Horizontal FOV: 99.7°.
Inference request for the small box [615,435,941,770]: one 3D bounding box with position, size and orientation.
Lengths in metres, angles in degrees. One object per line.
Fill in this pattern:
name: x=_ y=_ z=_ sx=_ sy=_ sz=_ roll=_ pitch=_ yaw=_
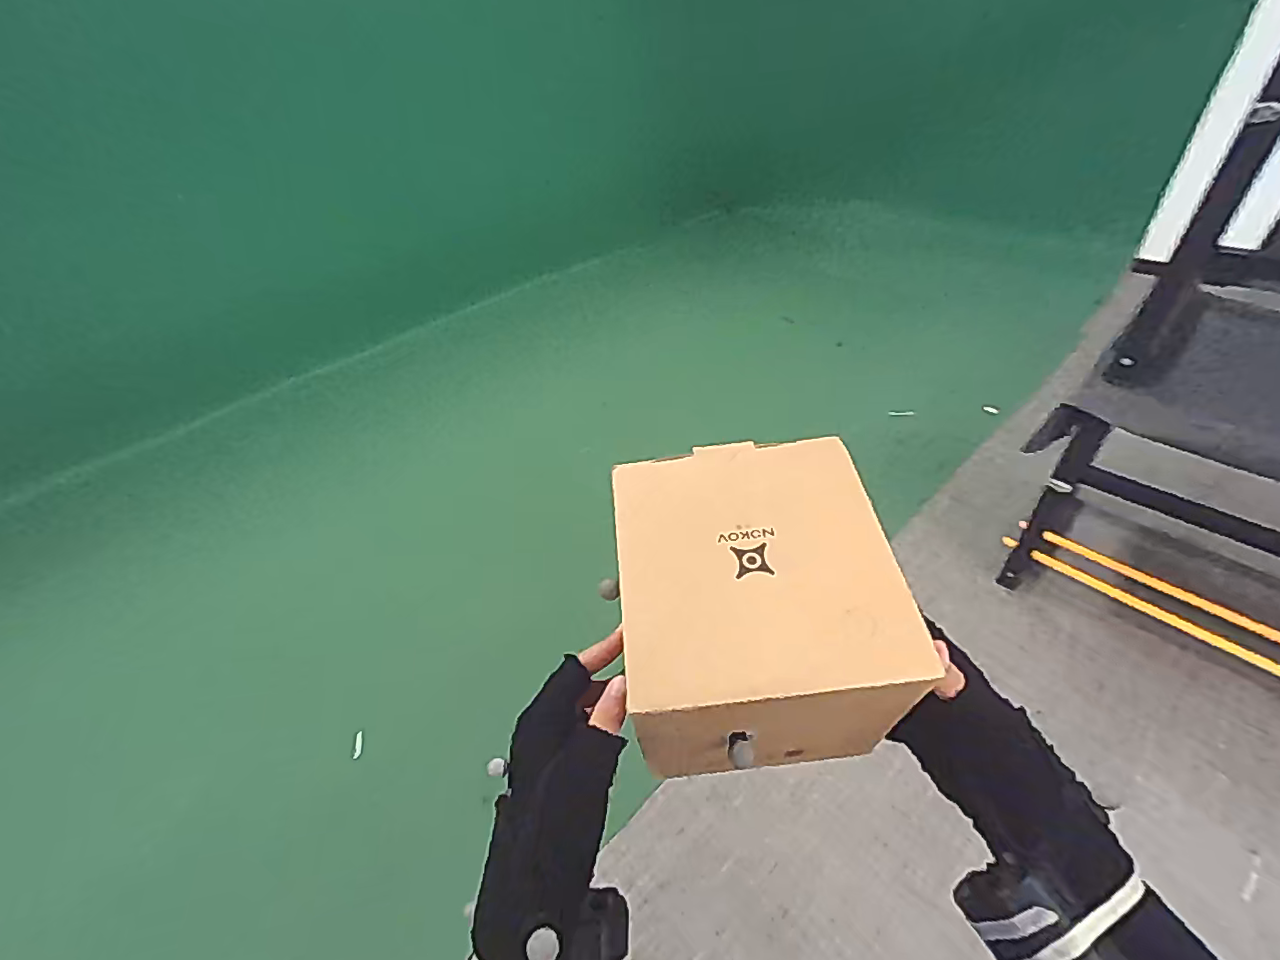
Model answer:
small box: x=0.077 y=0.095 z=0.390 sx=0.168 sy=0.176 sz=0.179 roll=-7 pitch=49 yaw=1
